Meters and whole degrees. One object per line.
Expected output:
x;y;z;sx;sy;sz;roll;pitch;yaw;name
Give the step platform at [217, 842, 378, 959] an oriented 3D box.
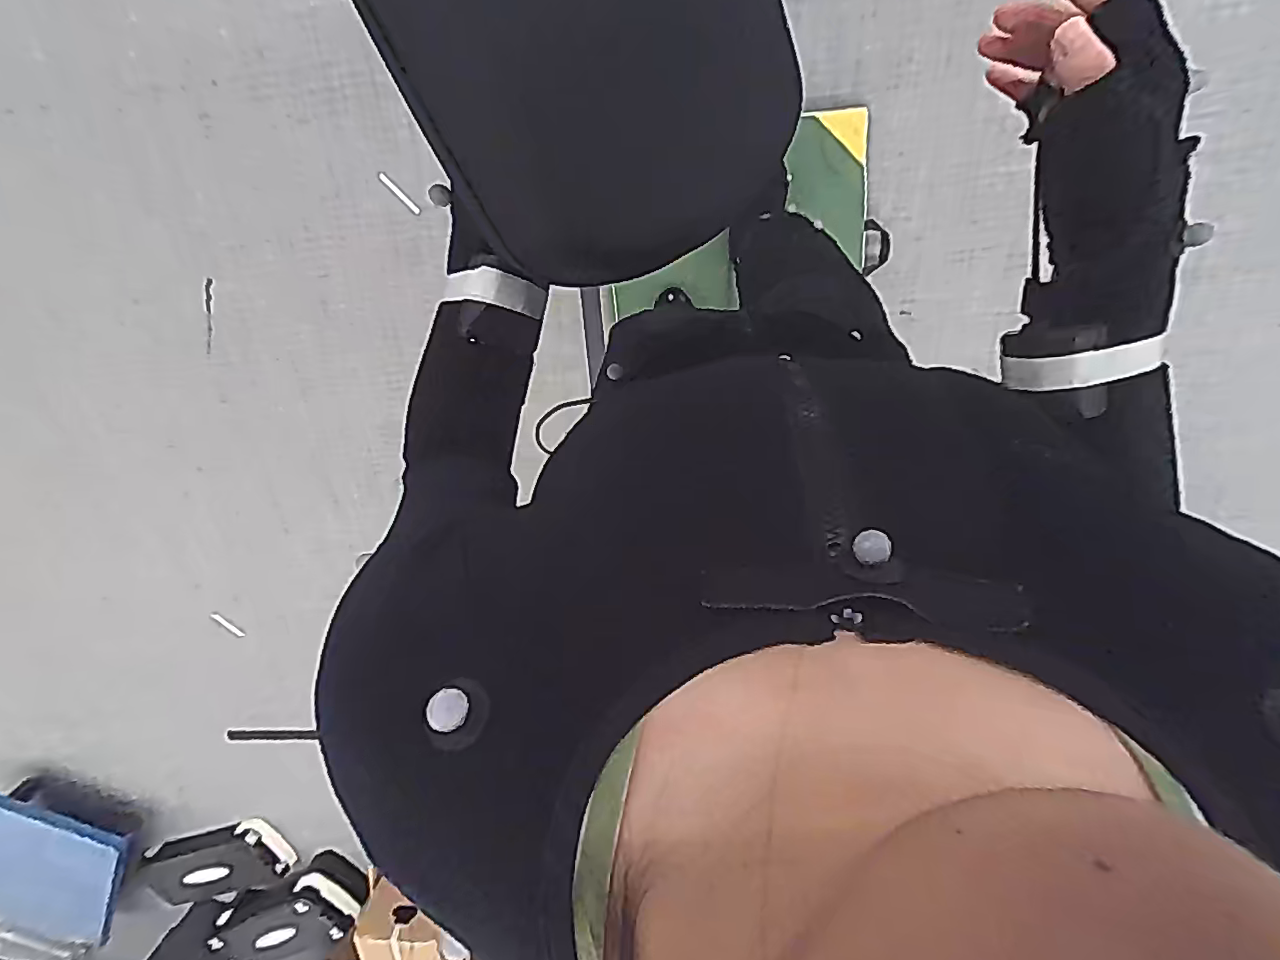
-1.517;1.866;2.390;0.684;0.204;0.286;-31;108;15;step platform
